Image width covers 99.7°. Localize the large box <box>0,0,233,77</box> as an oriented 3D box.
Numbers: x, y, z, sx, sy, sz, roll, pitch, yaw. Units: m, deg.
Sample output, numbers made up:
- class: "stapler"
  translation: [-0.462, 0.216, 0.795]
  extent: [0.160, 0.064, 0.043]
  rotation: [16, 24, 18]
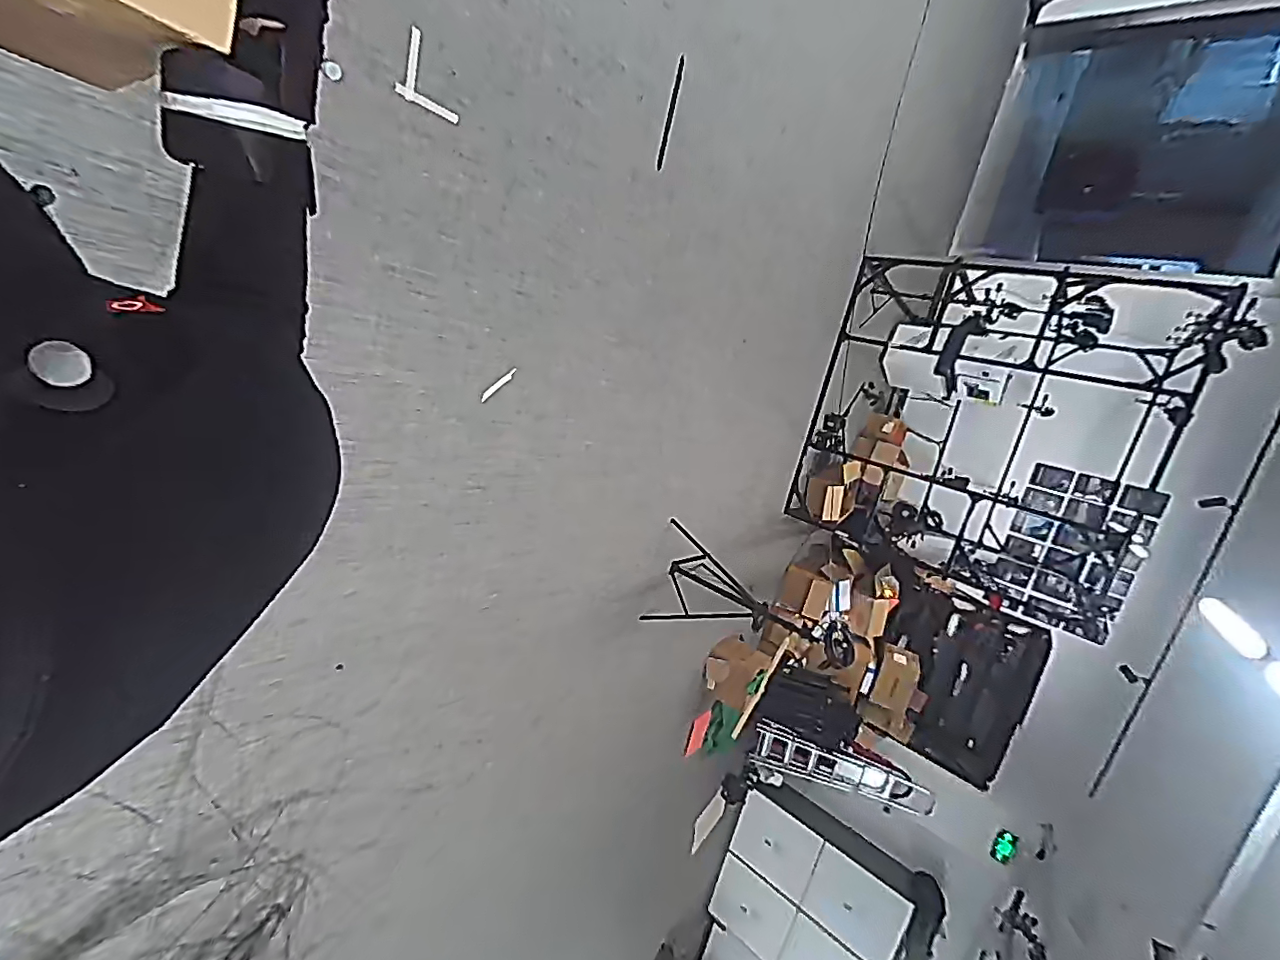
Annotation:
- class: "large box"
  translation: [-0.456, -0.457, 0.228]
  extent: [0.408, 0.320, 0.320]
  rotation: [-3, 112, -55]
